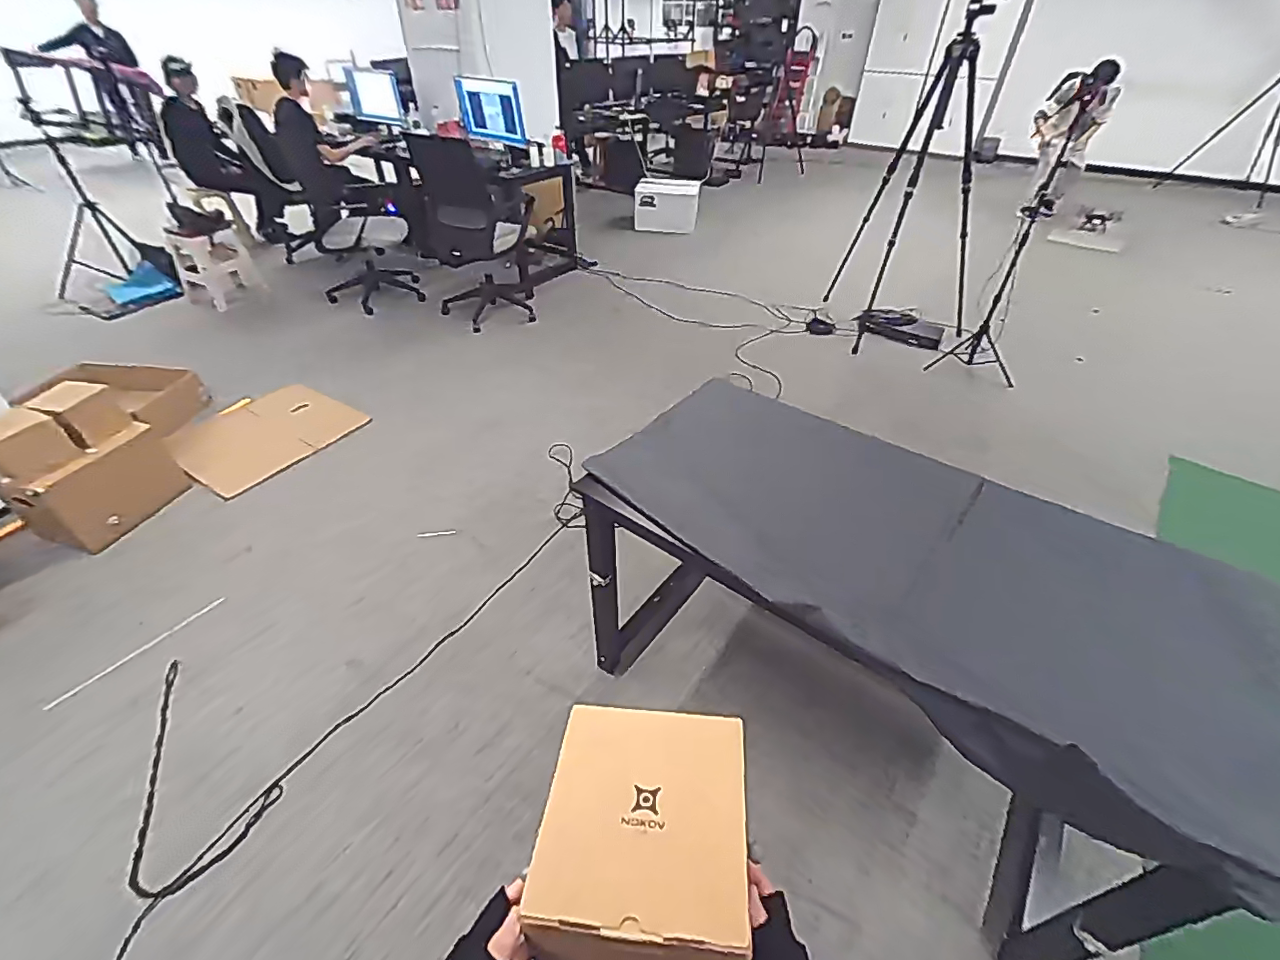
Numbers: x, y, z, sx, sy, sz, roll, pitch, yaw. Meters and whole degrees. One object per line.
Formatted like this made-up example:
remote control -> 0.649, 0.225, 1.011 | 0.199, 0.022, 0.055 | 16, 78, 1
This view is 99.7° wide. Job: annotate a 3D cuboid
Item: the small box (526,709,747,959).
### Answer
small box -> 0.008, 0.346, 0.500 | 0.168, 0.176, 0.179 | 2, 34, 7
